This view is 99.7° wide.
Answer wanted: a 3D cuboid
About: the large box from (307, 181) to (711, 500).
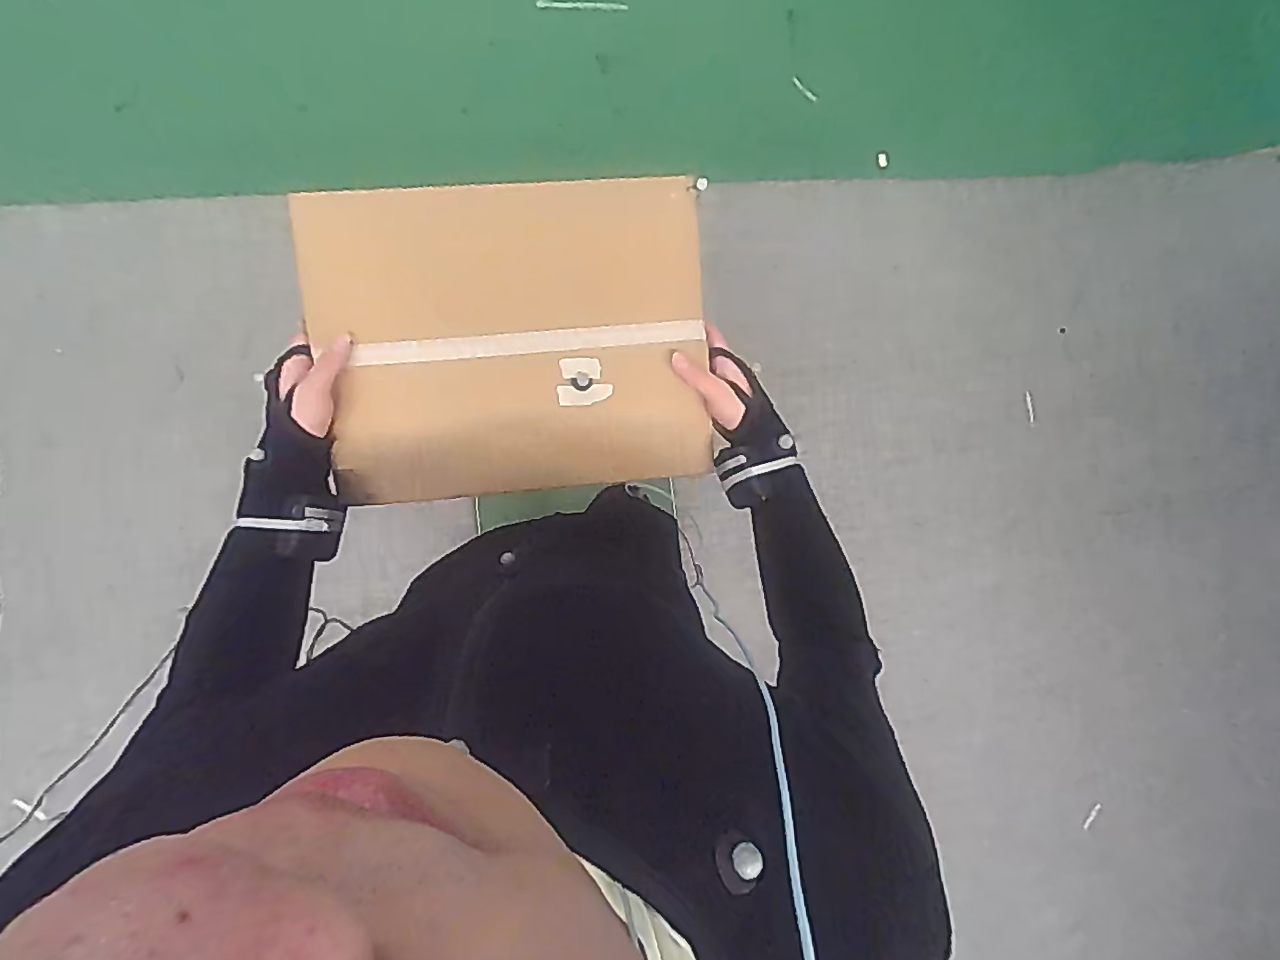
[{"bbox_3d":[-0.144,-0.167,0.728,0.408,0.320,0.320,-5,98,-5],"label":"large box"}]
